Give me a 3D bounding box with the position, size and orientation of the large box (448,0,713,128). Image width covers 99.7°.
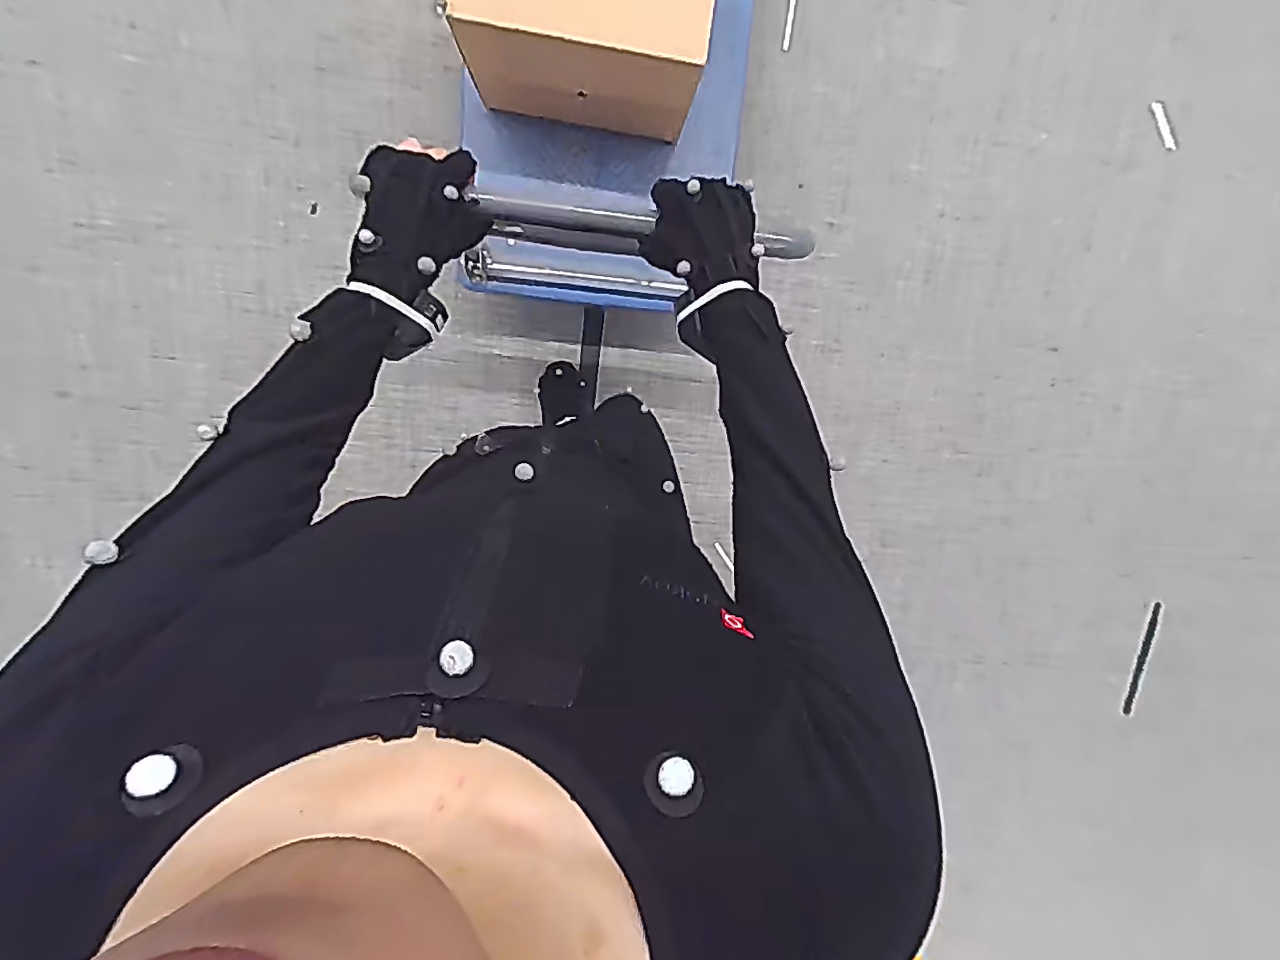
[{"bbox_3d":[-0.084,-0.867,0.944,0.408,0.320,0.320,7,102,-5],"label":"large box"}]

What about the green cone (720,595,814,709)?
[{"bbox_3d":[0.362,0.478,1.426,0.202,0.368,0.200,9,102,-8],"label":"green cone"}]
